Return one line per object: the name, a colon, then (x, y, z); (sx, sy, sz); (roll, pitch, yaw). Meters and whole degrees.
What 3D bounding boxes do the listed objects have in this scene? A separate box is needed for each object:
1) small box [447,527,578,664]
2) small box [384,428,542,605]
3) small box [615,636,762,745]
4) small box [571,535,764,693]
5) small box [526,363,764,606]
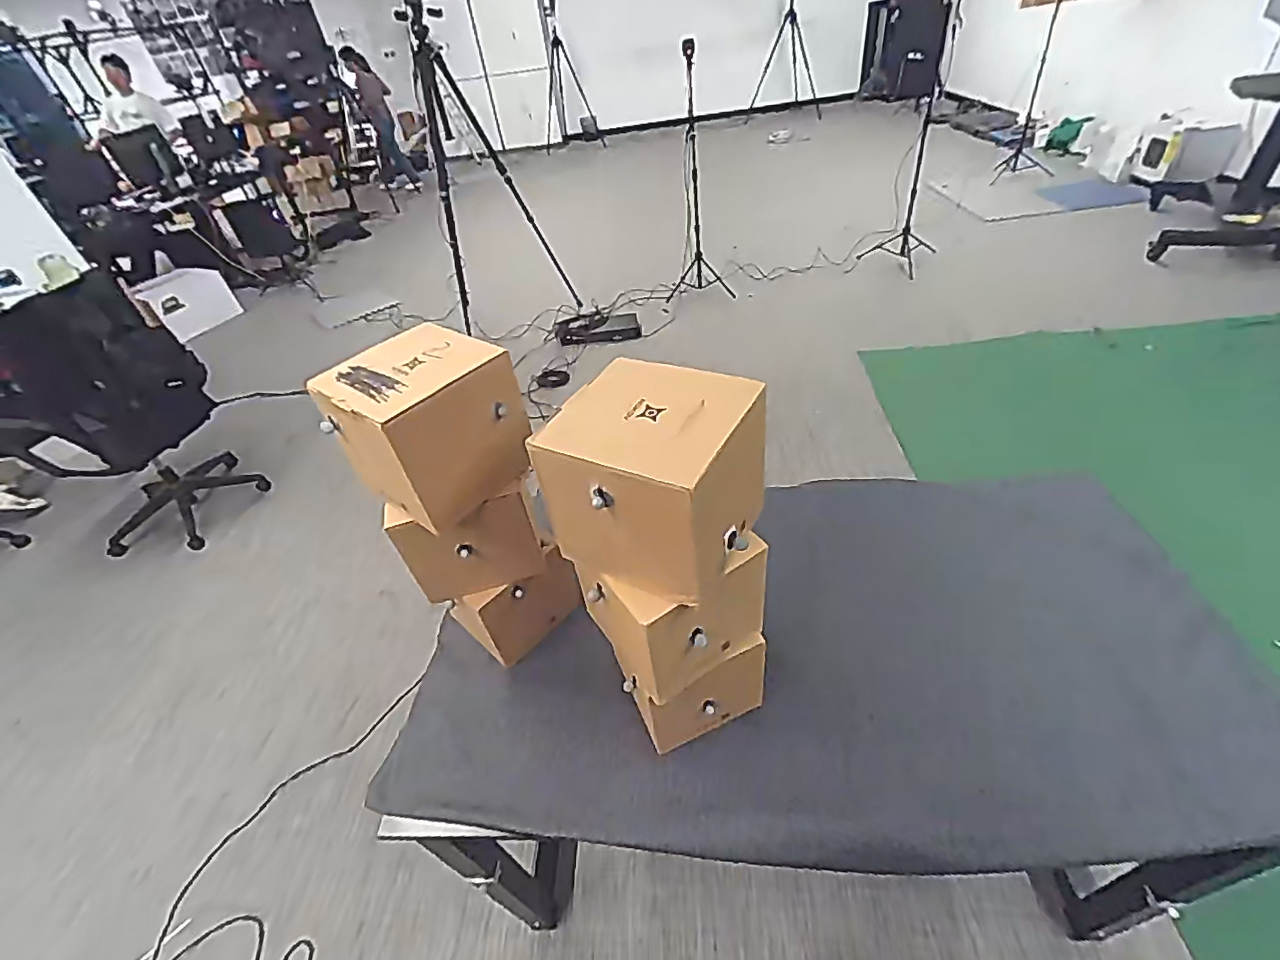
small box: (-0.229, 0.173, 0.909); (0.179, 0.176, 0.168); (27, 53, 34)
small box: (-0.250, 0.054, 0.798); (0.179, 0.176, 0.168); (-16, 42, -7)
small box: (0.059, 0.246, 0.770); (0.168, 0.176, 0.179); (-20, 41, -13)
small box: (0.033, 0.130, 0.660); (0.168, 0.176, 0.179); (-28, 44, -20)
small box: (0.016, 0.002, 0.561); (0.179, 0.176, 0.168); (16, 48, 27)
